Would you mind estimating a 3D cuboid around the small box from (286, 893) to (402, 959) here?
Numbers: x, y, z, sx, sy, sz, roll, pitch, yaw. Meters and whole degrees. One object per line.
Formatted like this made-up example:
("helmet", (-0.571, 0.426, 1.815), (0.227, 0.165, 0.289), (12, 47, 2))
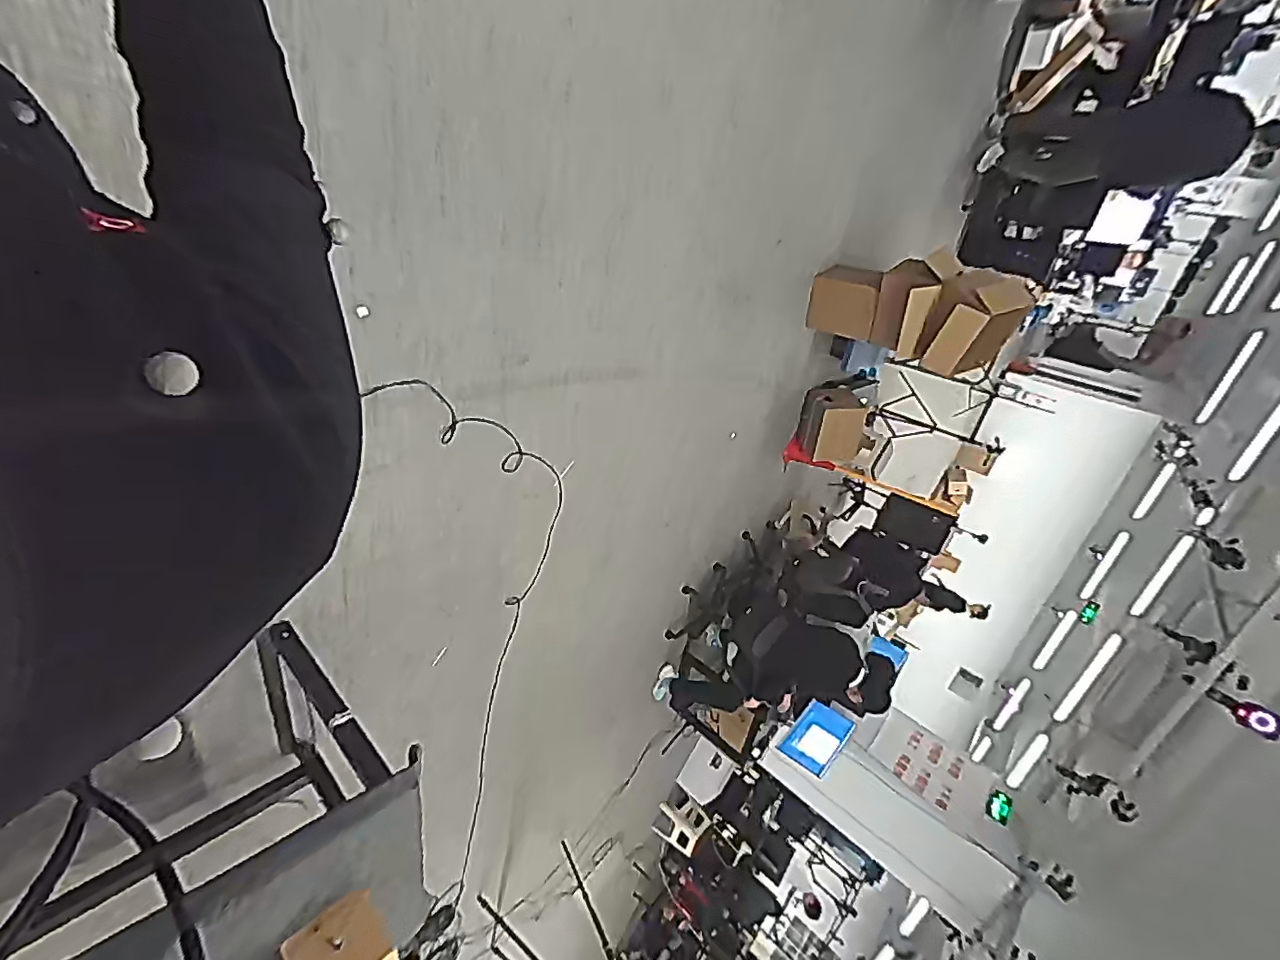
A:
("small box", (-0.621, 1.032, 1.142), (0.168, 0.176, 0.179), (-21, 129, -44))
